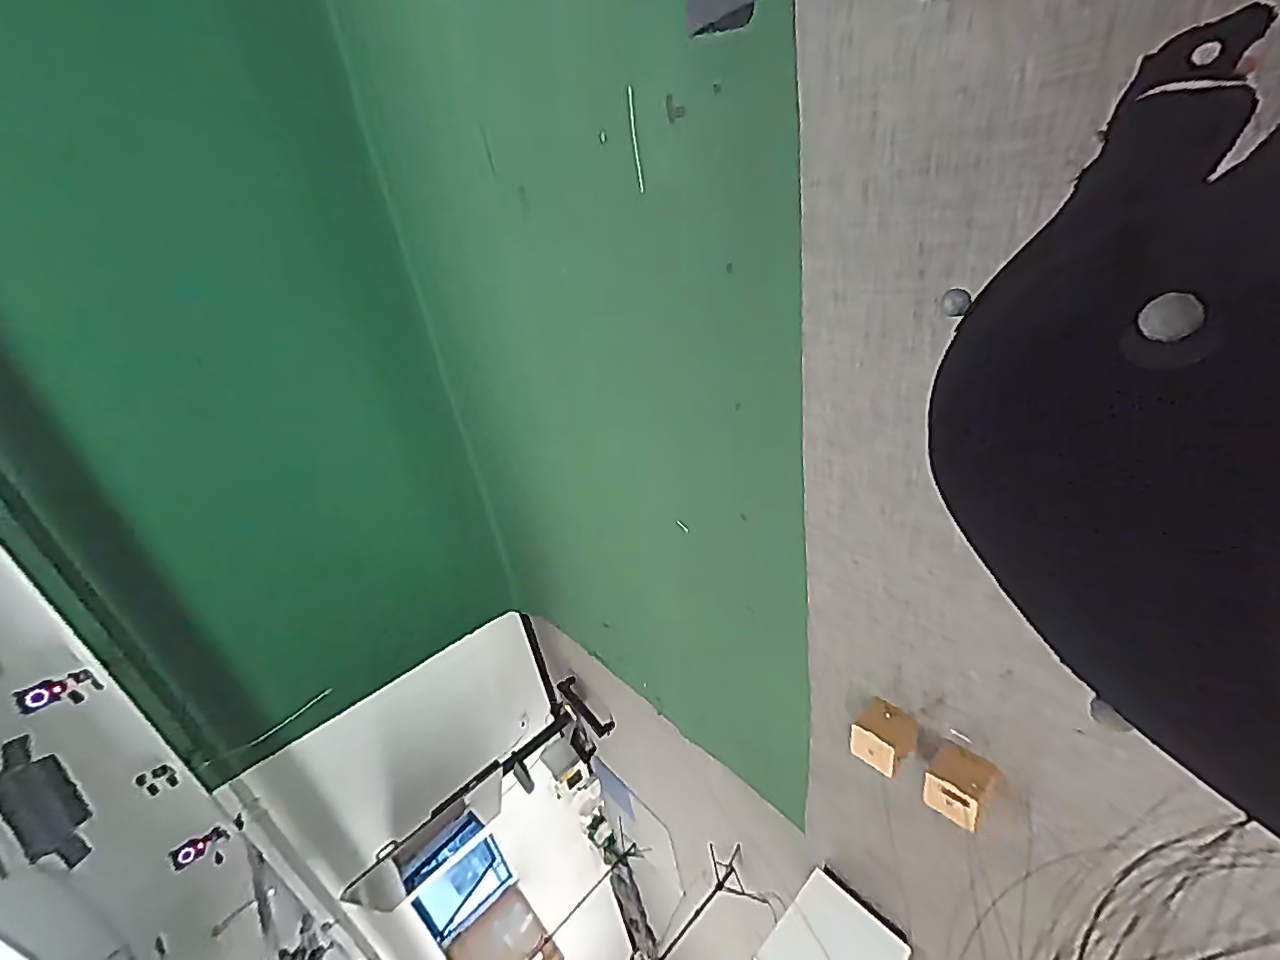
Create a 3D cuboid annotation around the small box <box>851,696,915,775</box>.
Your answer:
[{"bbox_3d":[0.932,0.976,2.075,0.168,0.176,0.179,22,130,45],"label":"small box"}]
